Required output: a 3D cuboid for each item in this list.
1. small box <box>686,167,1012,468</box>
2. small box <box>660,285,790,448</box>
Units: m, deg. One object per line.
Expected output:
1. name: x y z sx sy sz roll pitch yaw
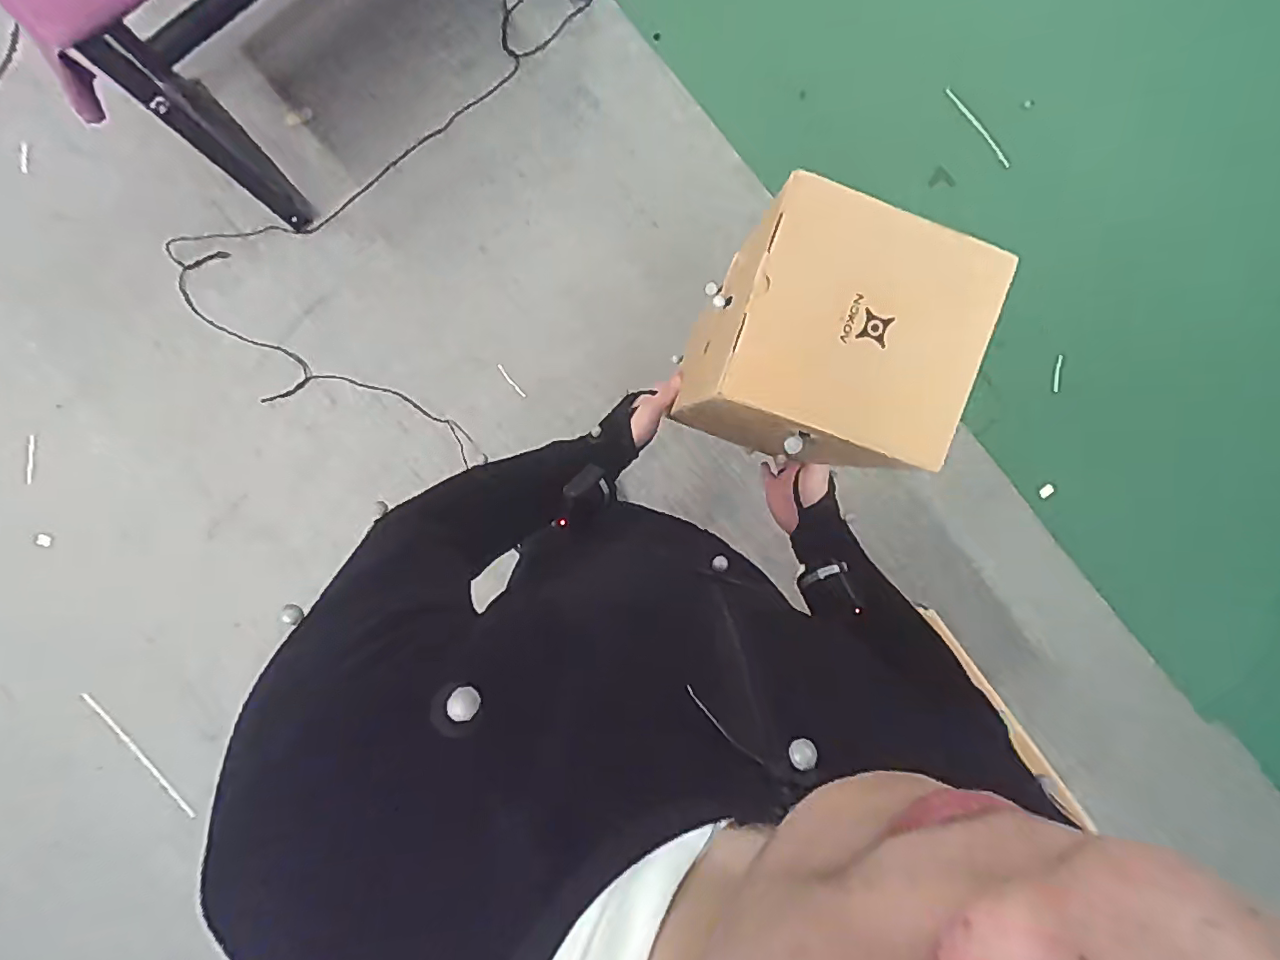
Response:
1. small box: 0.153 -0.119 0.459 0.179 0.176 0.168 18 93 -4
2. small box: 0.140 -0.154 0.784 0.179 0.176 0.168 20 92 -4
